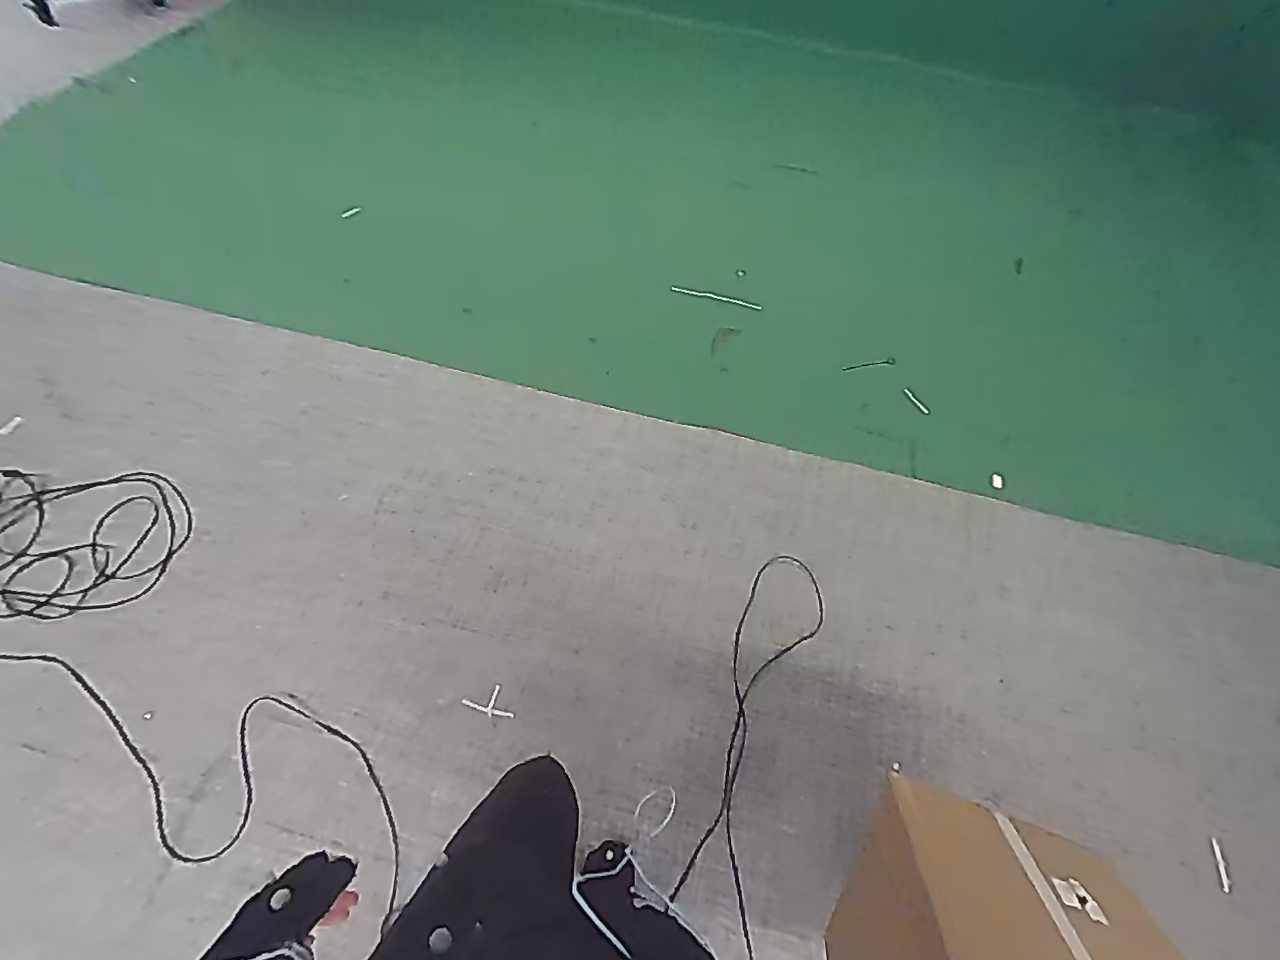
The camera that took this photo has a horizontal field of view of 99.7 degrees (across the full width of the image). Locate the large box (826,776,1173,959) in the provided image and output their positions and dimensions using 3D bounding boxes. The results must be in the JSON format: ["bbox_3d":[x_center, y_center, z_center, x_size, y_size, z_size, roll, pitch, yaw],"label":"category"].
[{"bbox_3d":[0.438,0.667,0.650,0.320,0.408,0.320,18,99,12],"label":"large box"}]
